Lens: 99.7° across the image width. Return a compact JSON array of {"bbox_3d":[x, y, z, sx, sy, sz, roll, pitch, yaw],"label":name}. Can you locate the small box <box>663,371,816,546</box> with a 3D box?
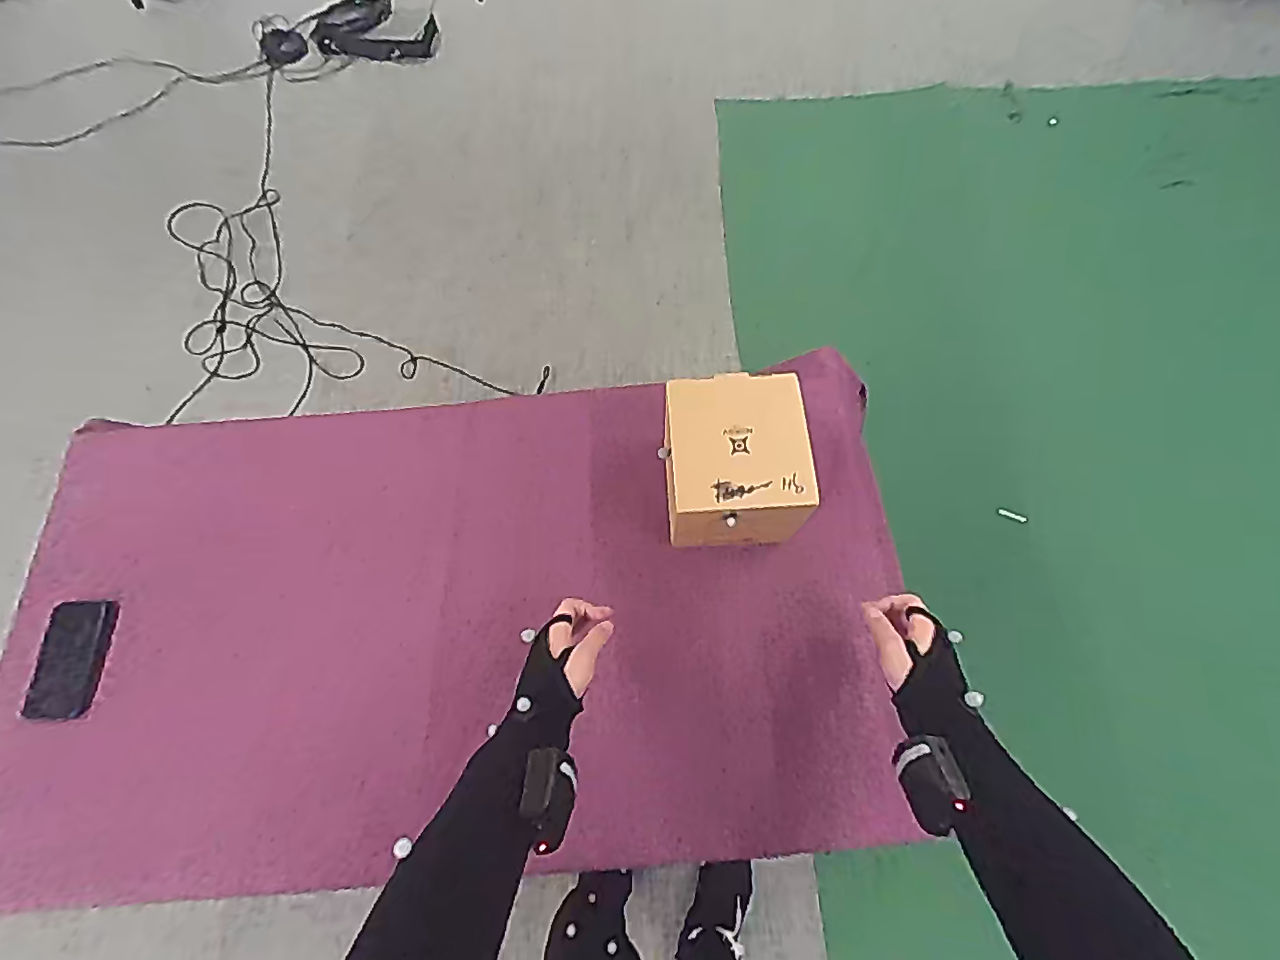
[{"bbox_3d":[0.117,-0.022,0.714,0.168,0.176,0.179,-4,69,2],"label":"small box"}]
